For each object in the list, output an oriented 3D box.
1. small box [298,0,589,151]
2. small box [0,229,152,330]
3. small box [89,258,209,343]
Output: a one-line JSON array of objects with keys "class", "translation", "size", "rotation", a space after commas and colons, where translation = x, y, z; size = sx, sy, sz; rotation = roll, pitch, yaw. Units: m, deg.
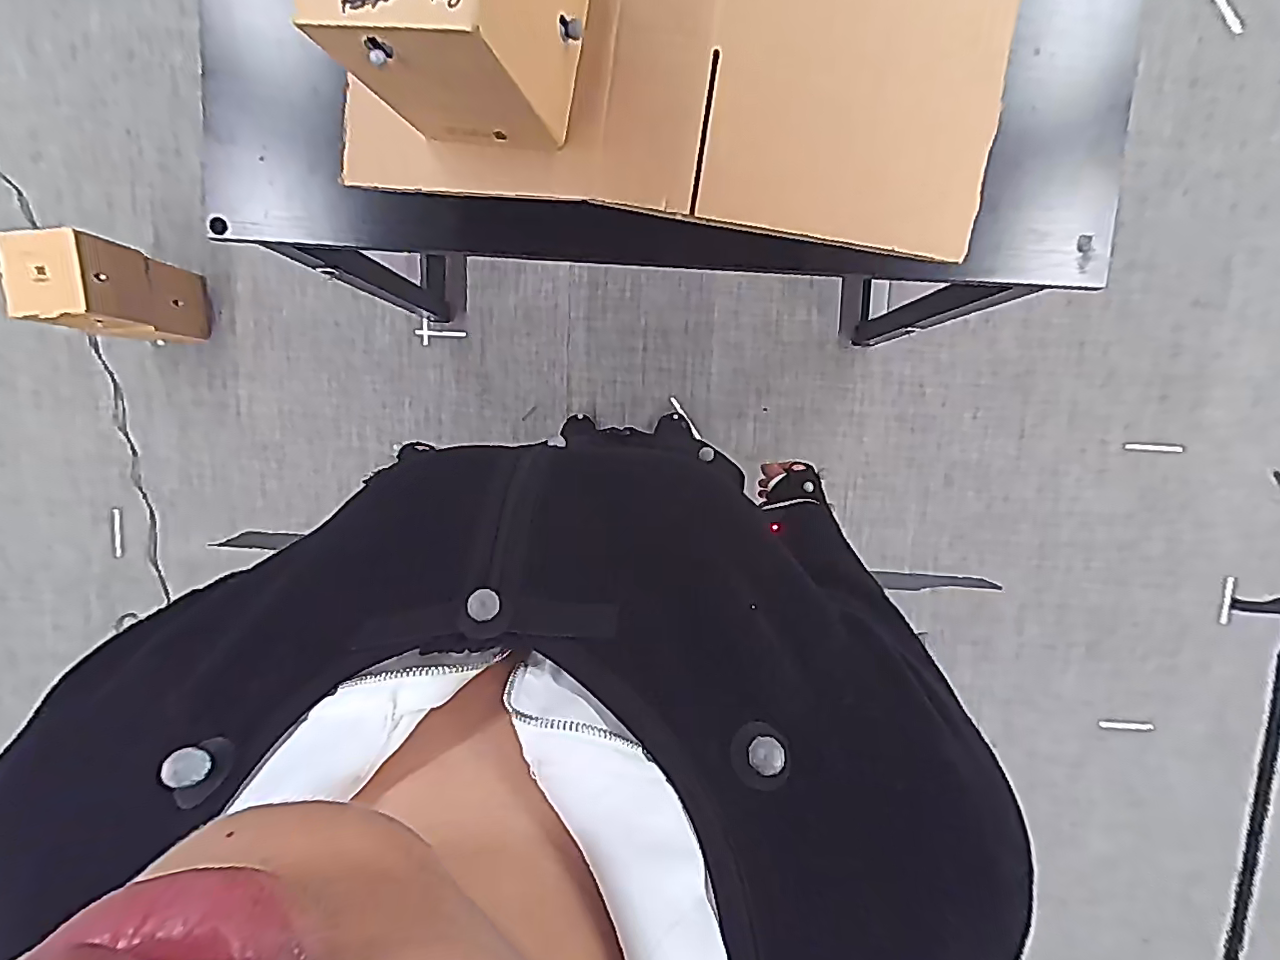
[{"class": "small box", "translation": [-0.154, -0.429, 0.475], "size": [0.168, 0.176, 0.179], "rotation": [13, 96, 13]}, {"class": "small box", "translation": [-1.249, -0.439, 1.211], "size": [0.168, 0.176, 0.179], "rotation": [-4, 95, 0]}, {"class": "small box", "translation": [-1.246, -0.450, 1.373], "size": [0.168, 0.176, 0.179], "rotation": [-1, 97, 1]}]
